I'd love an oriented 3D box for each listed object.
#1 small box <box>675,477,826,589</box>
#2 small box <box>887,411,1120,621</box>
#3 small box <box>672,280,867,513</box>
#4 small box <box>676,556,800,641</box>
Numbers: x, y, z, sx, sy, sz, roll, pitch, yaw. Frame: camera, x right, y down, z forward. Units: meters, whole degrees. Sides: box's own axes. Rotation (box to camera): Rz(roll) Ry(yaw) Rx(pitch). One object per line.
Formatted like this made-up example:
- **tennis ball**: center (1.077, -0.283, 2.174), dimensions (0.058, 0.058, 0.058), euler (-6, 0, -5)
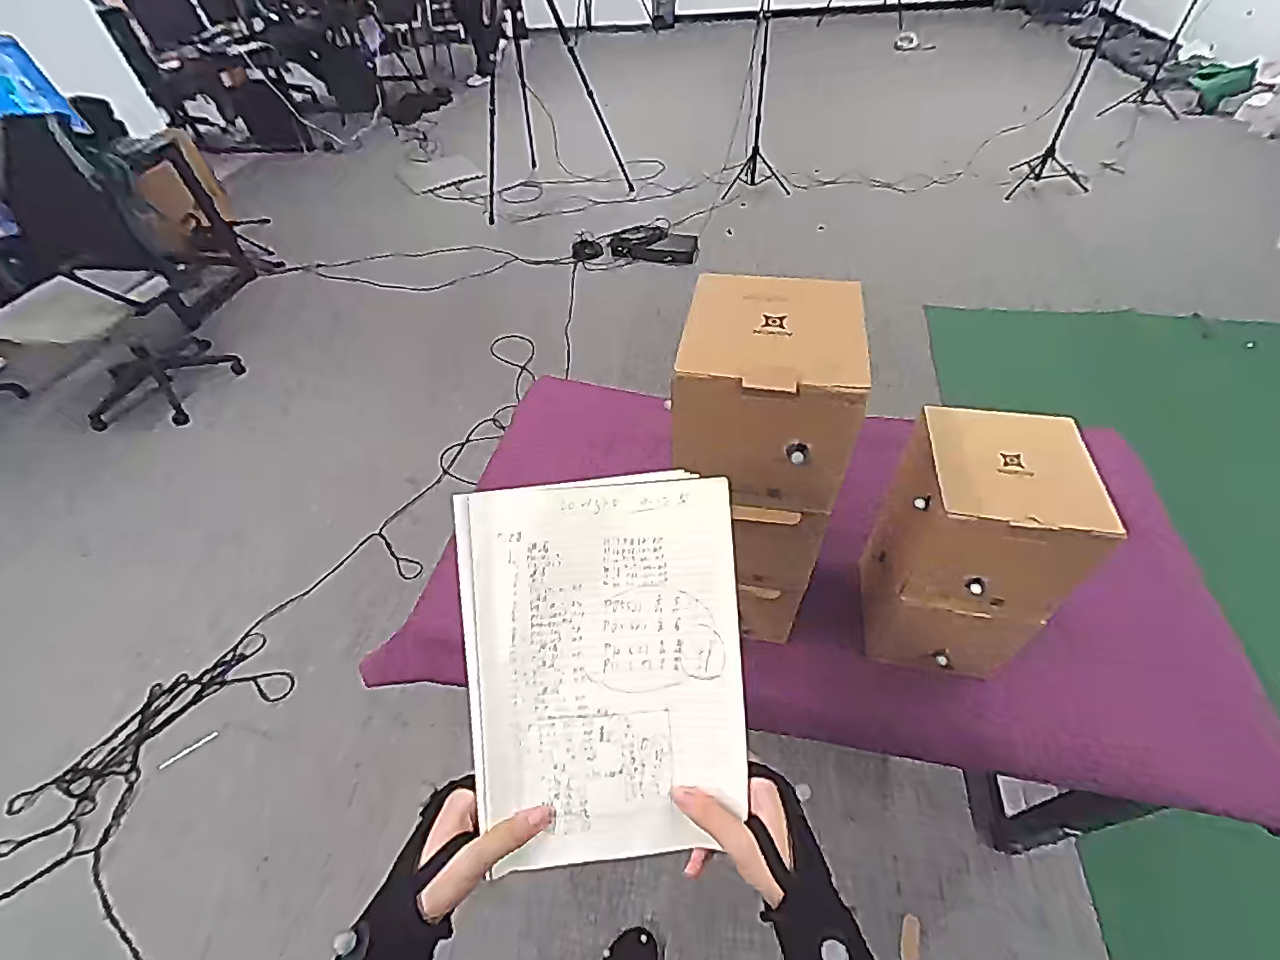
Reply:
- **small box**: center (0.141, 0.018, 0.694), dimensions (0.168, 0.176, 0.179), euler (7, 48, 10)
- **small box**: center (0.410, 0.042, 0.652), dimensions (0.168, 0.176, 0.179), euler (7, 49, 11)
- **small box**: center (0.131, -0.087, 0.569), dimensions (0.168, 0.176, 0.179), euler (8, 49, 10)
- **small box**: center (0.152, 0.123, 0.821), dimensions (0.168, 0.176, 0.179), euler (7, 50, 10)
